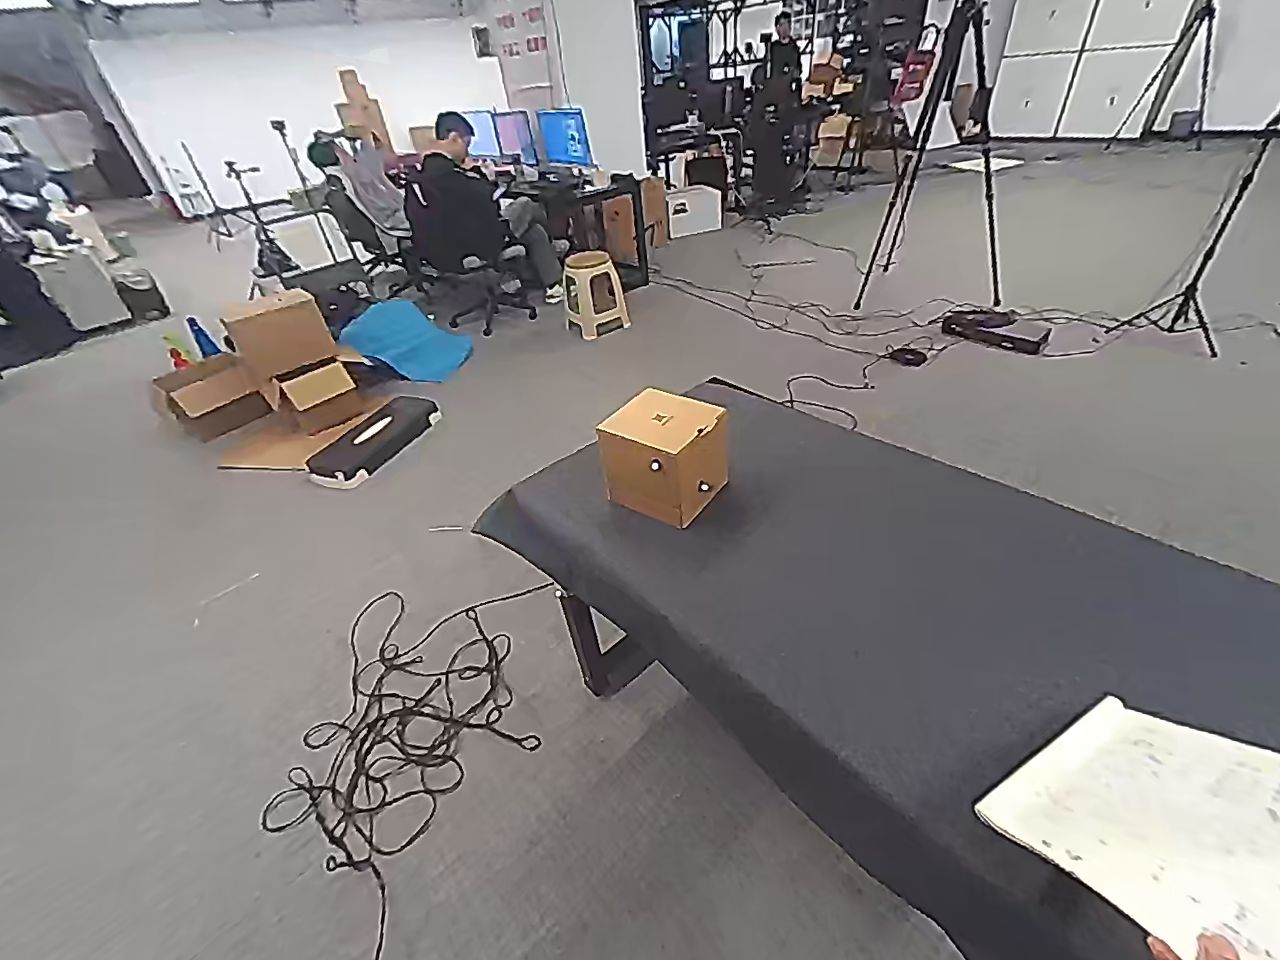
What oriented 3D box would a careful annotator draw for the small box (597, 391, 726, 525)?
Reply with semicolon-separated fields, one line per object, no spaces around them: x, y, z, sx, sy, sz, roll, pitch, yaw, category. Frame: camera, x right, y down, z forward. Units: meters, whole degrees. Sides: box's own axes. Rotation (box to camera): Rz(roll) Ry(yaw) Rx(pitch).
0.045;-0.042;1.004;0.179;0.176;0.168;20;44;31;small box
